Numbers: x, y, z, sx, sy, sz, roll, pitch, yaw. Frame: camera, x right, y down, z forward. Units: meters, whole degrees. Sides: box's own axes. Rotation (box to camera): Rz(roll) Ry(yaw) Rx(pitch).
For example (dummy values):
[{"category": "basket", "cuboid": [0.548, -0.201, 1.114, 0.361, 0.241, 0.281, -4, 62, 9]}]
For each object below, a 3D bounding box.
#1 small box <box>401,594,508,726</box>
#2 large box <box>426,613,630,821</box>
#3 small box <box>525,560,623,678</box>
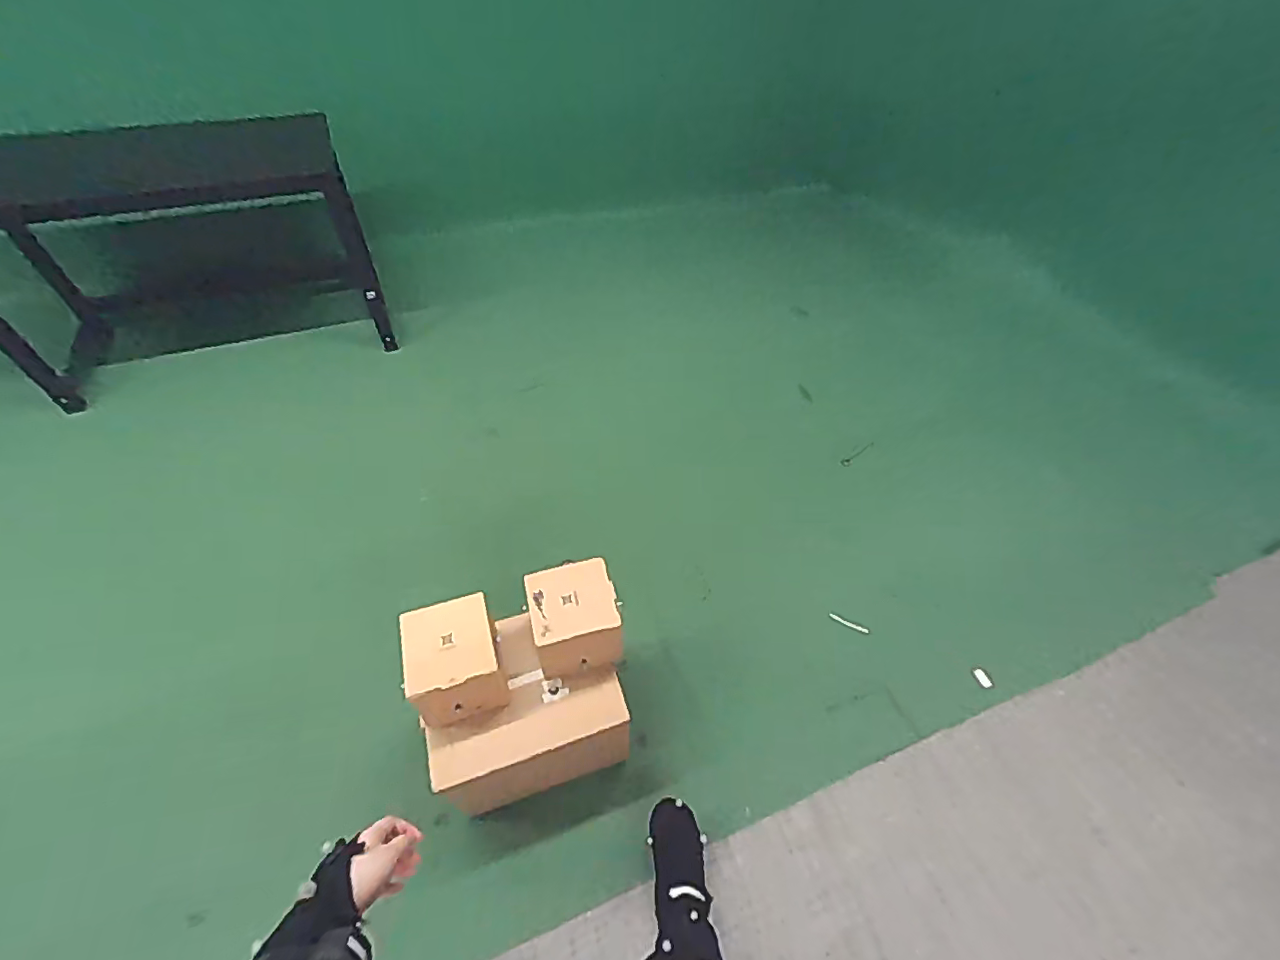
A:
[{"category": "small box", "cuboid": [-0.371, 0.363, 1.090, 0.168, 0.176, 0.179, -14, 51, -15]}, {"category": "large box", "cuboid": [-0.262, 0.532, 1.269, 0.408, 0.320, 0.320, -14, 52, -15]}, {"category": "small box", "cuboid": [-0.140, 0.298, 1.153, 0.179, 0.176, 0.168, -11, 50, -11]}]
